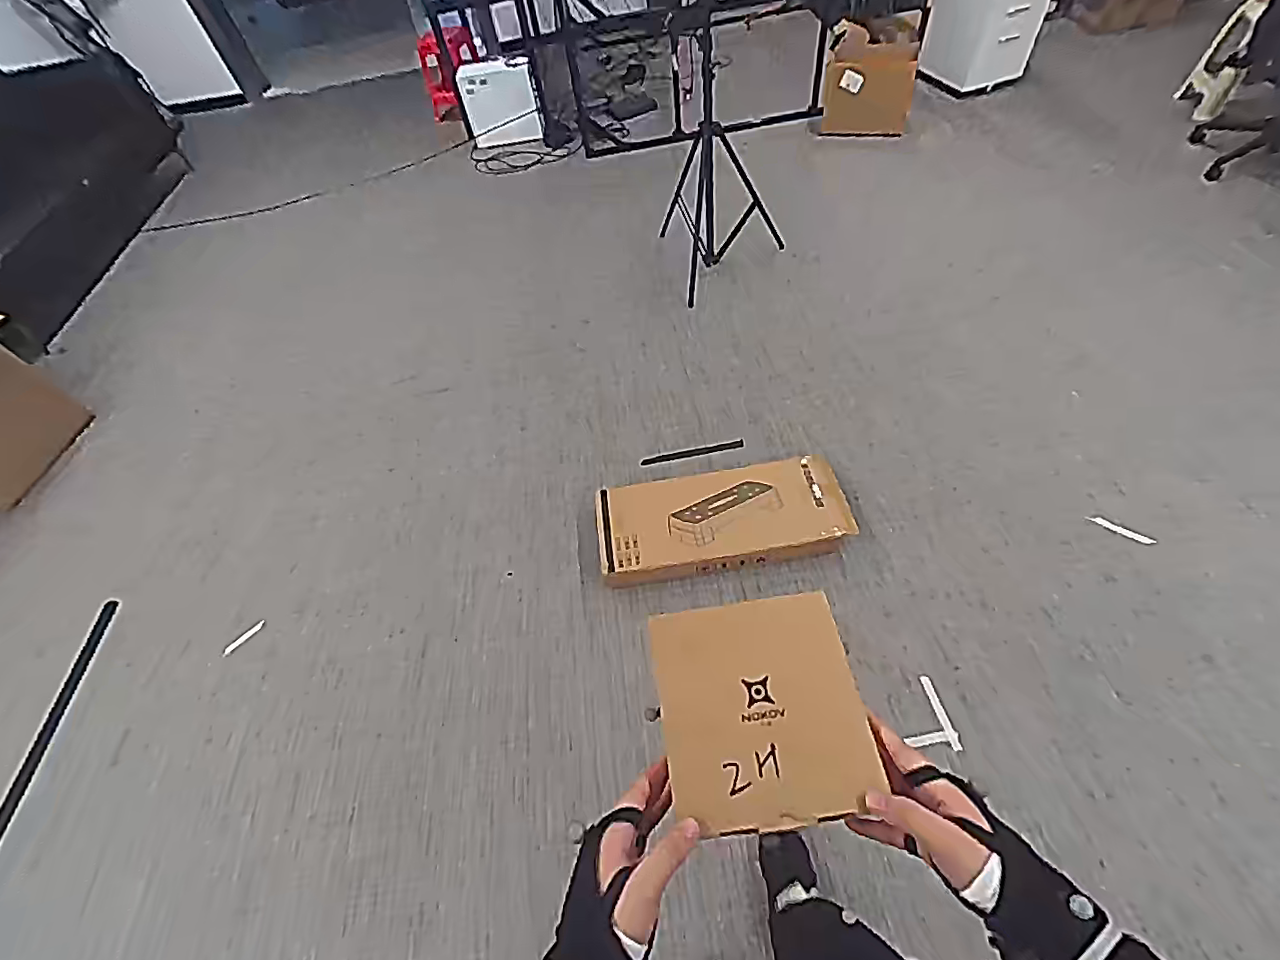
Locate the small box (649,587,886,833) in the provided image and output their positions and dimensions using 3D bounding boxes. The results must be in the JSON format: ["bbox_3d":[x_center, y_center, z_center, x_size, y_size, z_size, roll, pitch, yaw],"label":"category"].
[{"bbox_3d":[0.102,0.225,0.520,0.168,0.176,0.179,-9,56,0],"label":"small box"}]
